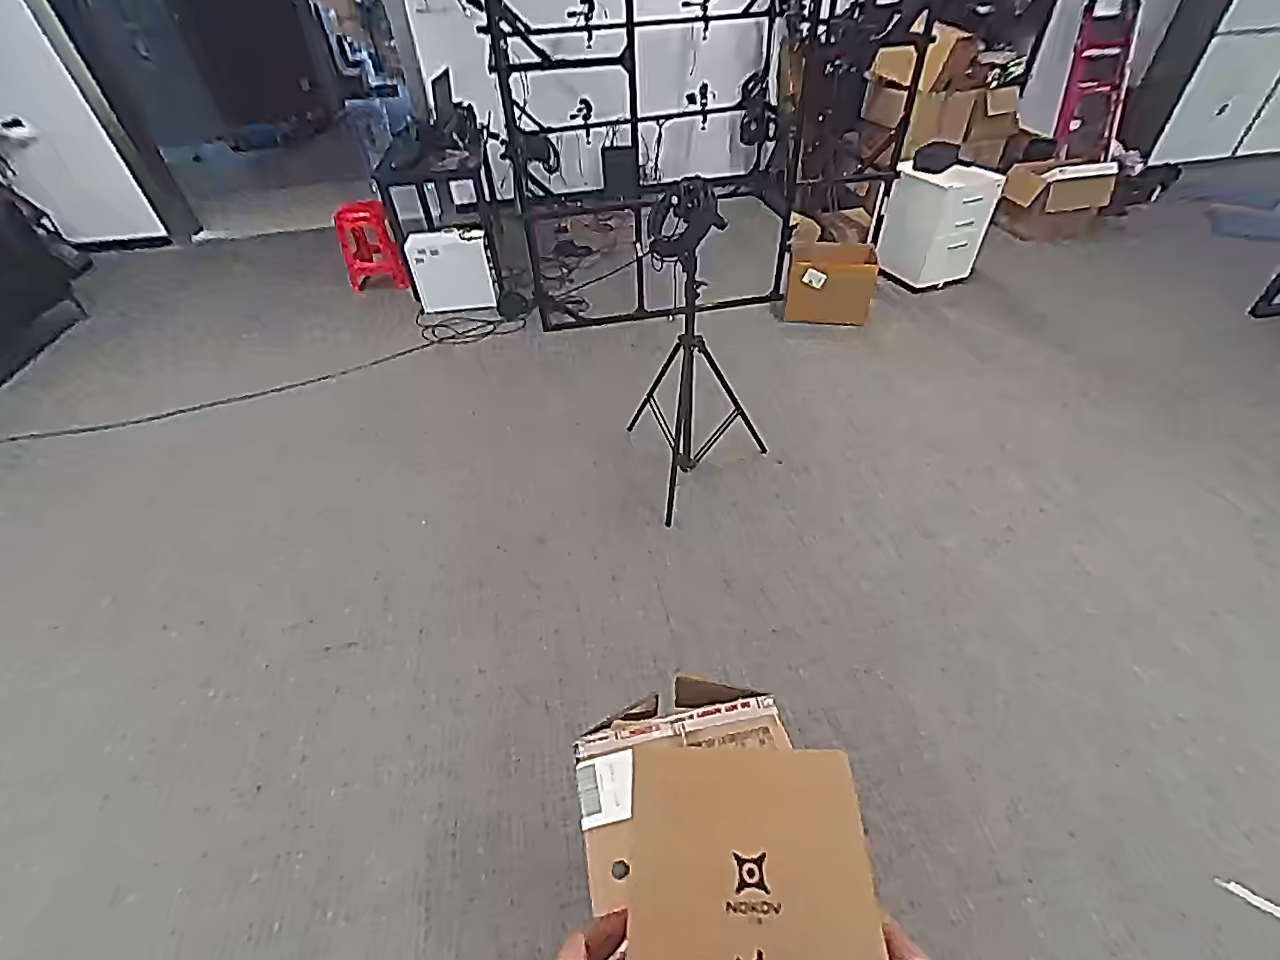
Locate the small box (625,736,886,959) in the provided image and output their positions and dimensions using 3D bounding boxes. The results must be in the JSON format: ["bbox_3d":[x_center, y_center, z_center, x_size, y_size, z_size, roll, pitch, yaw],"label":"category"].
[{"bbox_3d":[0.075,0.321,0.427,0.168,0.176,0.179,0,50,3],"label":"small box"}]
